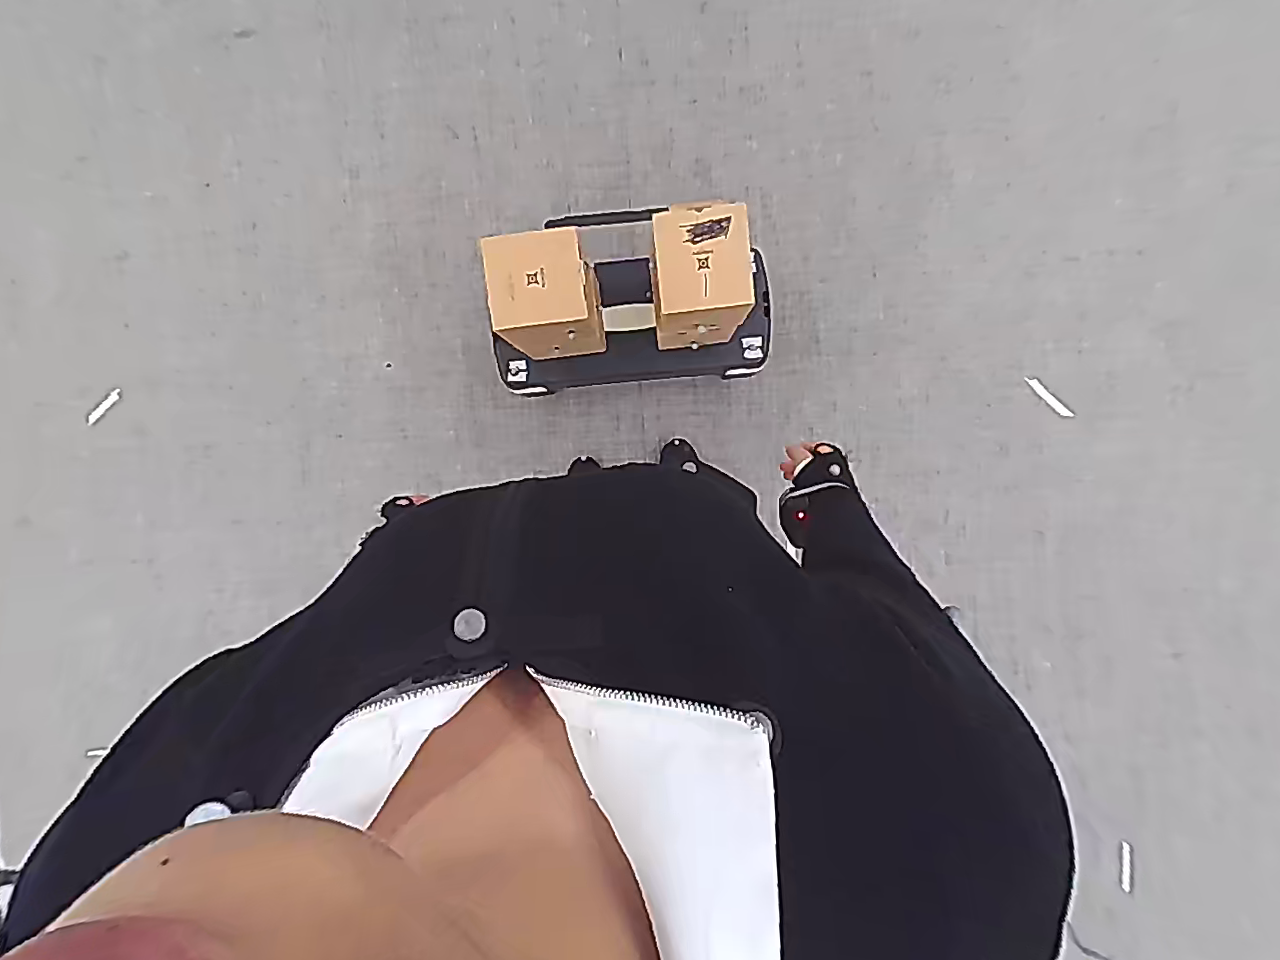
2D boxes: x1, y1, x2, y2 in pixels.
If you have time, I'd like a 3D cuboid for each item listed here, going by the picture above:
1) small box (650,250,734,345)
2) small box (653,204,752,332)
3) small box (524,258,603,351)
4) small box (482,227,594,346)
[{"bbox_3d":[0.109,-0.400,1.193,0.168,0.176,0.179,-6,94,3],"label":"small box"},{"bbox_3d":[0.112,-0.393,1.028,0.168,0.176,0.179,-6,94,3],"label":"small box"},{"bbox_3d":[-0.180,-0.375,1.205,0.179,0.176,0.168,-7,94,3],"label":"small box"},{"bbox_3d":[-0.185,-0.363,1.042,0.179,0.176,0.168,-7,93,2],"label":"small box"}]
